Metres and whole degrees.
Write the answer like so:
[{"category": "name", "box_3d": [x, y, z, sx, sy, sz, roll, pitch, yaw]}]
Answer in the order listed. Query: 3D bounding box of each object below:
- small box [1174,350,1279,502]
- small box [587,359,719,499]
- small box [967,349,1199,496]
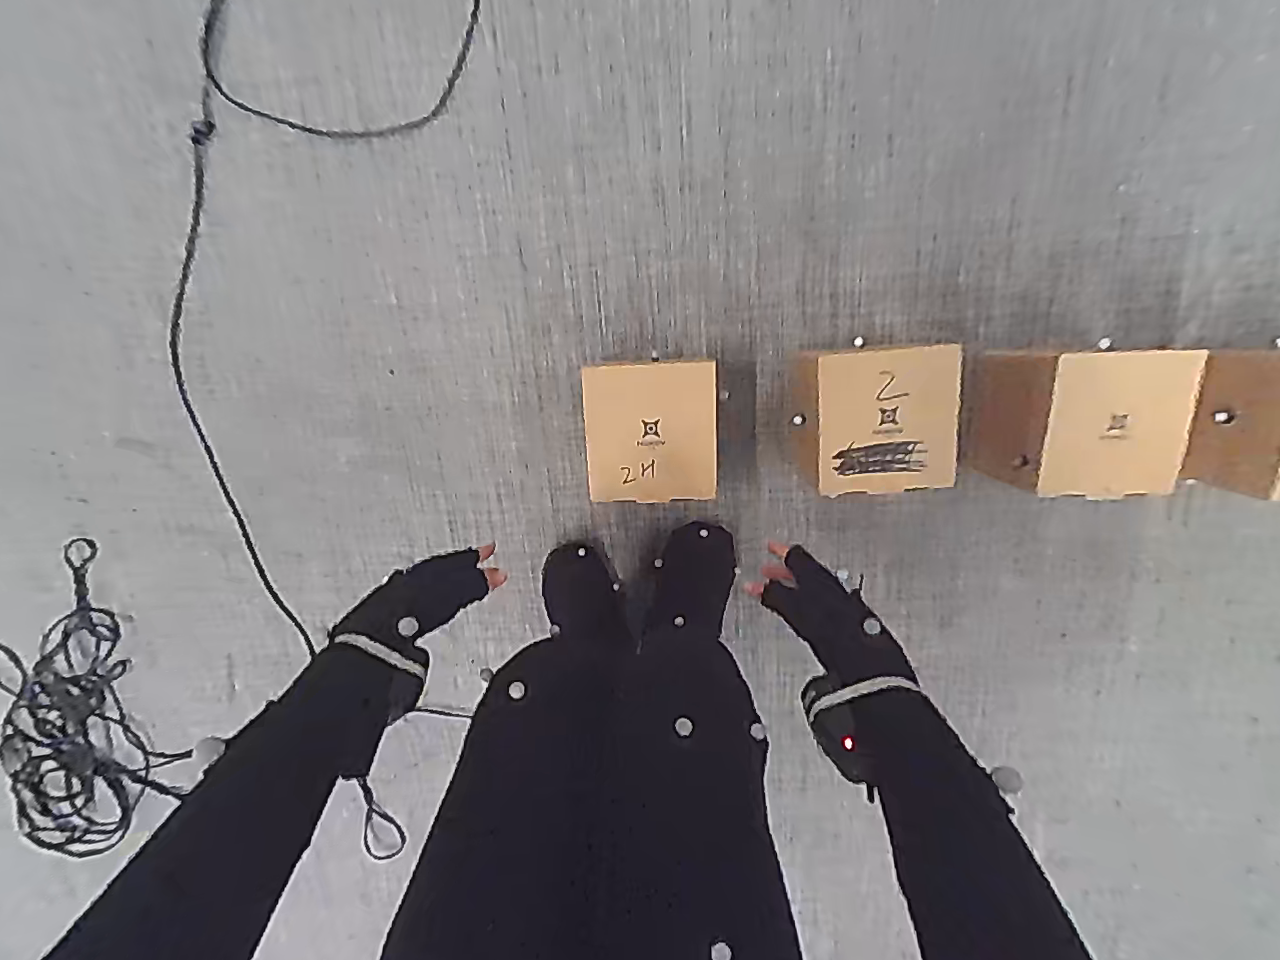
[{"category": "small box", "box_3d": [0.838, -0.078, 0.710, 0.168, 0.176, 0.179, -1, 104, 3]}, {"category": "small box", "box_3d": [0.021, -0.079, 0.755, 0.168, 0.176, 0.179, -1, 105, 4]}, {"category": "small box", "box_3d": [0.569, -0.084, 0.724, 0.168, 0.176, 0.179, -1, 105, 3]}]
